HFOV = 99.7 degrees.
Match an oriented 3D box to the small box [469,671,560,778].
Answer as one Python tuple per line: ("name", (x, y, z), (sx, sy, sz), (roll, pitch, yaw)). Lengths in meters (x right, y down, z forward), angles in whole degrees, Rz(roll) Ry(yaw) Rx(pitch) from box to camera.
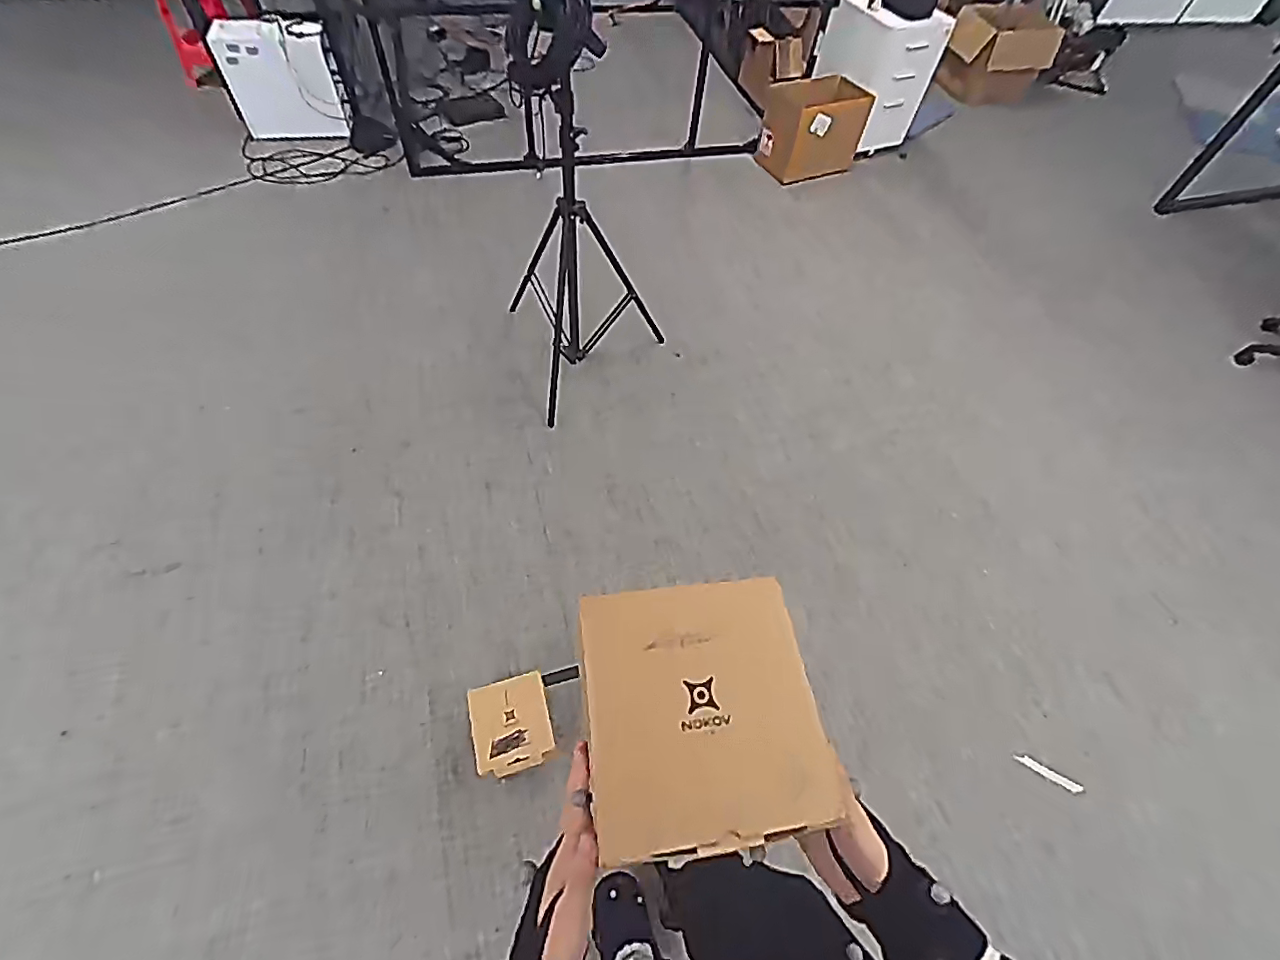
("small box", (-0.285, 0.568, 1.244), (0.168, 0.176, 0.179), (-13, 58, -13))

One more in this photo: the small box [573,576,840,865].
("small box", (0.034, 0.201, 0.454), (0.168, 0.176, 0.179), (-5, 56, -10))
